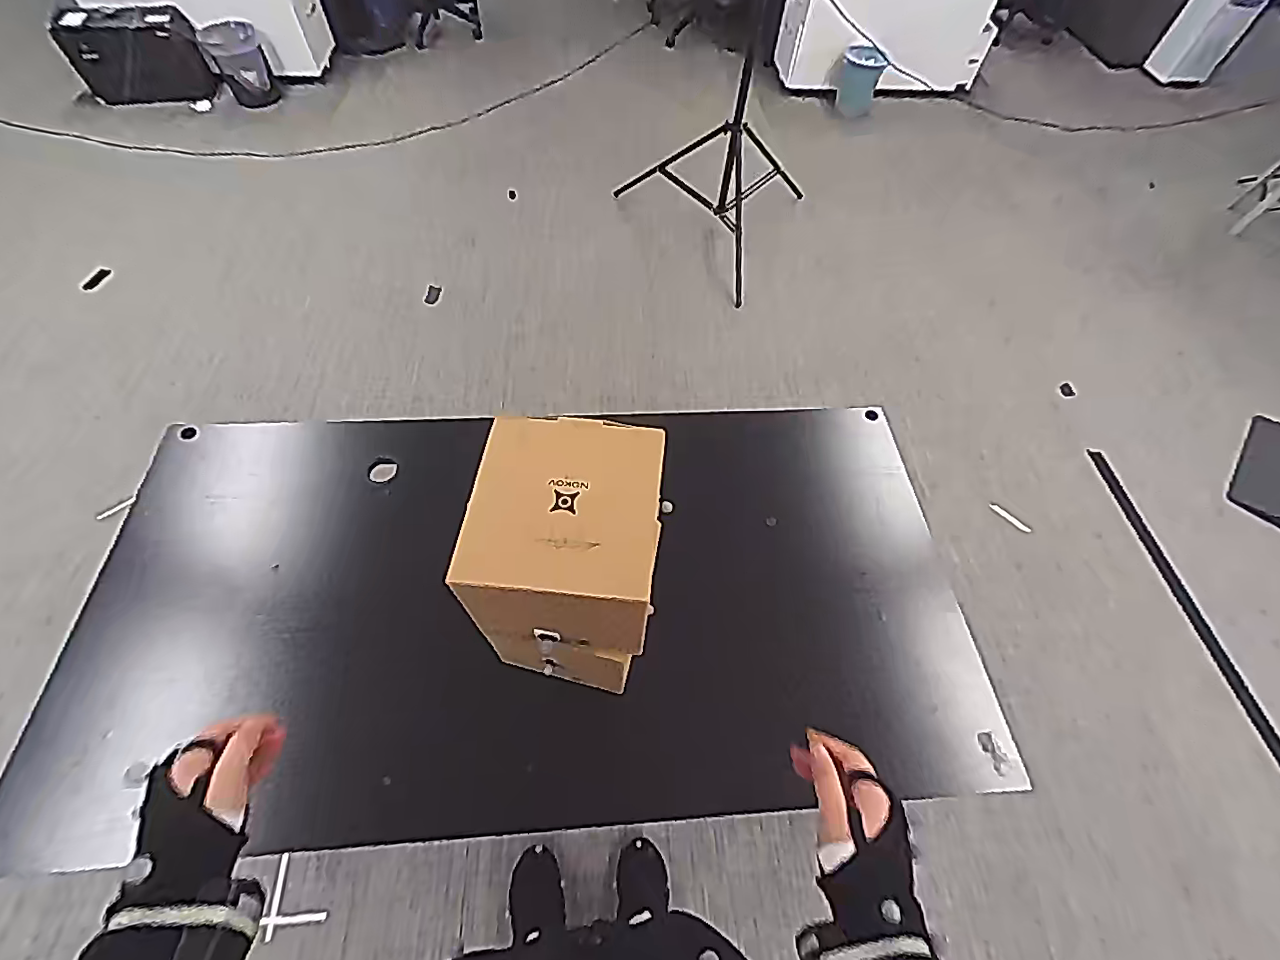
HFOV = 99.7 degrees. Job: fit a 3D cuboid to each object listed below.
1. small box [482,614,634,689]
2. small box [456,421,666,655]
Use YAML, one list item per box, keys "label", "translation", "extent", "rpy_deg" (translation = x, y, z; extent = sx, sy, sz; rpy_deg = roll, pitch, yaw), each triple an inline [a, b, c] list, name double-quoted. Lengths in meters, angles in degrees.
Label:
- label: "small box"
  translation: [-0.077, 0.150, 0.690]
  extent: [0.168, 0.176, 0.179]
  rpy_deg: [13, 58, 5]
- label: "small box"
  translation: [-0.066, 0.064, 0.552]
  extent: [0.168, 0.176, 0.179]
  rpy_deg: [5, 59, 1]
